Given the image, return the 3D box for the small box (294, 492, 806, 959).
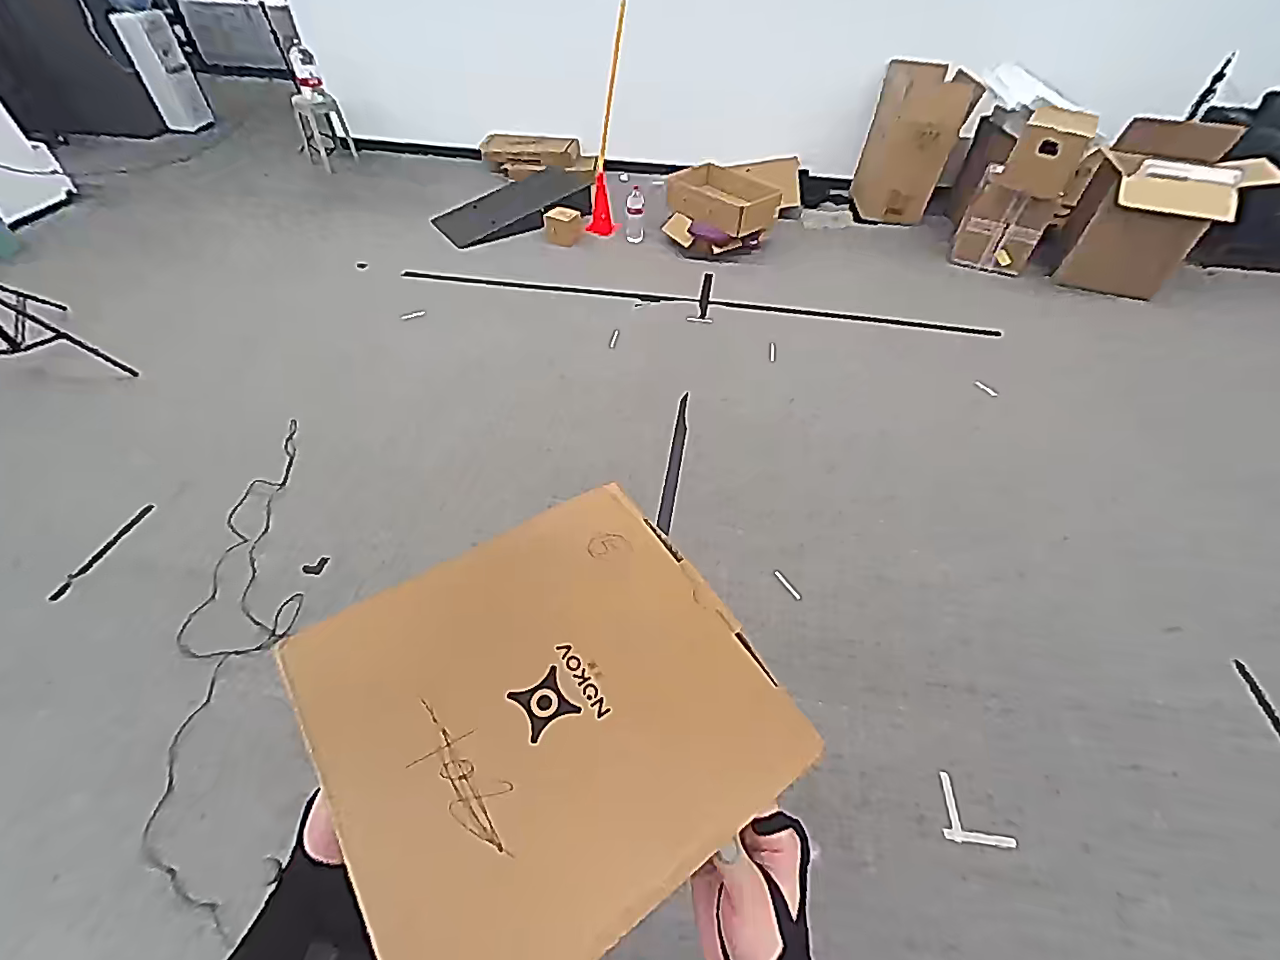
[{"bbox_3d":[-0.048,0.144,0.305,0.179,0.176,0.168,-28,62,-24],"label":"small box"}]
